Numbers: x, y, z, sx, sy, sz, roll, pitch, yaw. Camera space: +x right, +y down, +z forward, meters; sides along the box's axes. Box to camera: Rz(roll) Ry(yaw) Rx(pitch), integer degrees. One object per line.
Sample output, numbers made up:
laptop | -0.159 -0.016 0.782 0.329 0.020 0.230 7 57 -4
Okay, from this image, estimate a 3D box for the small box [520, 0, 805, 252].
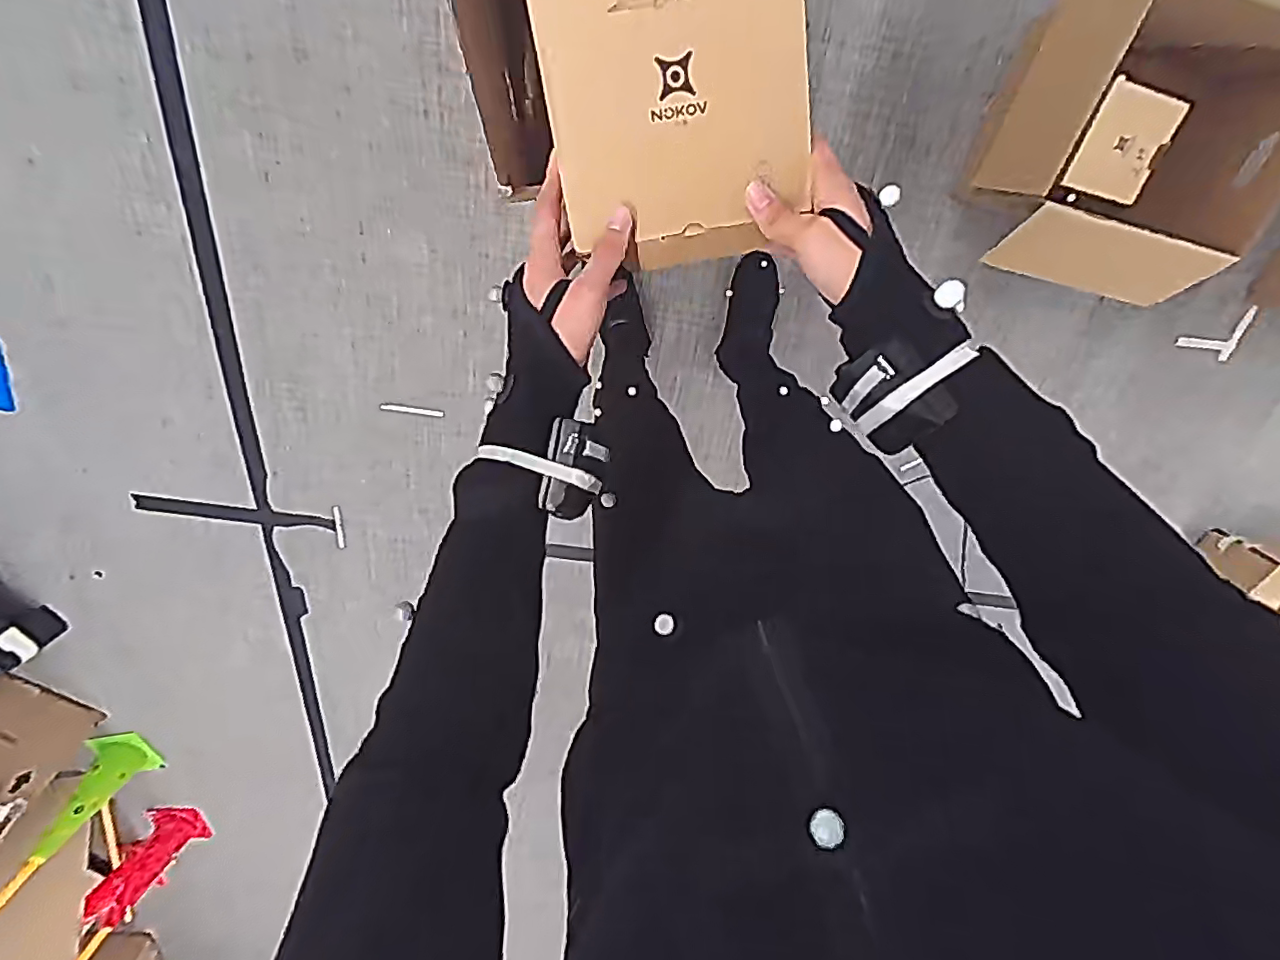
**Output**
small box | 0.014 -0.275 0.406 0.168 0.176 0.179 -10 111 0
